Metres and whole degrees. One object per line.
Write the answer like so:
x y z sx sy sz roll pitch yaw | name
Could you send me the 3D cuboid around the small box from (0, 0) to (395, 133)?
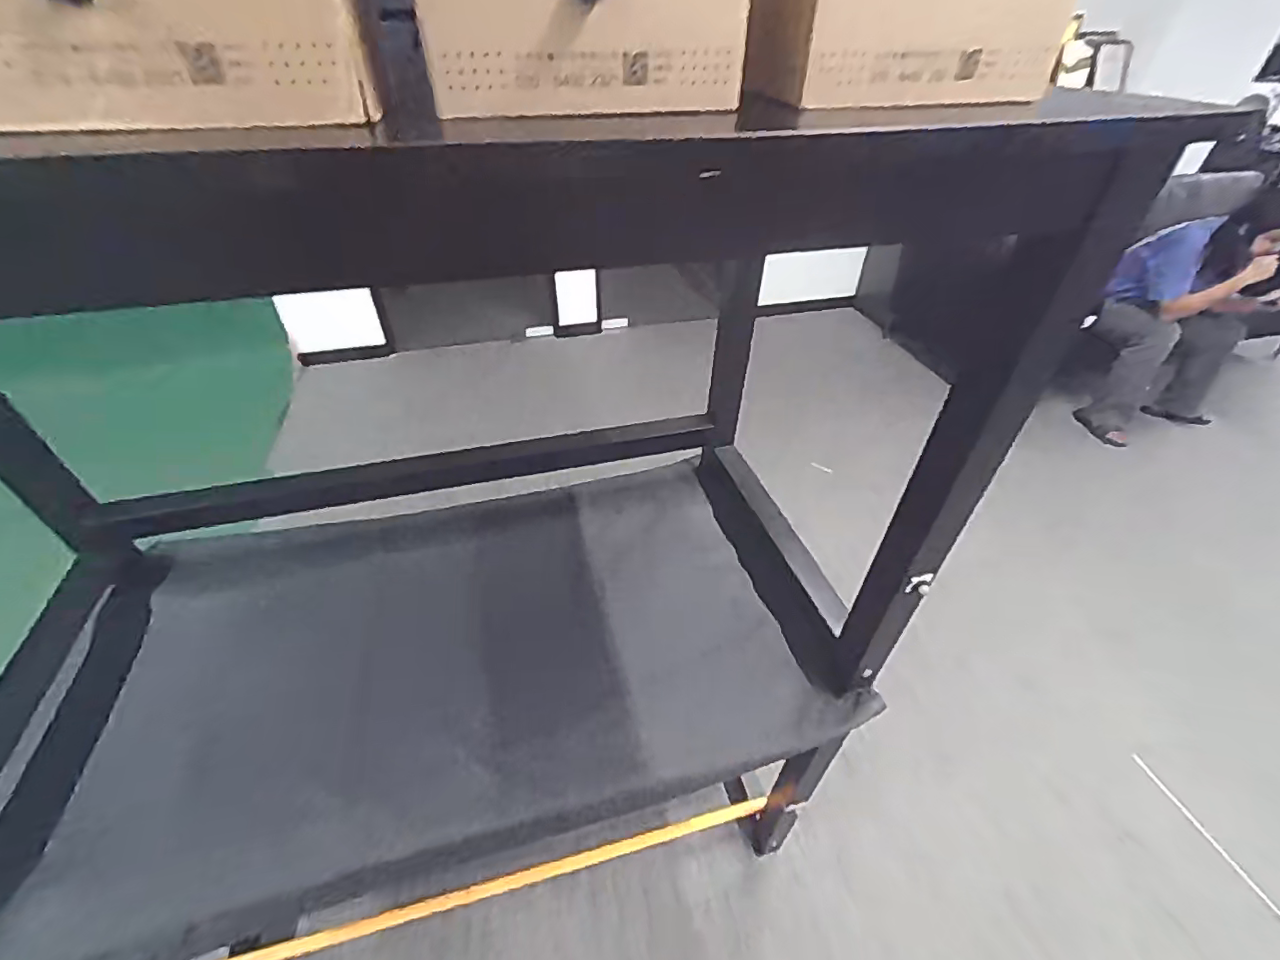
-0.224 -0.275 0.252 0.168 0.176 0.179 -10 42 -13 | small box
